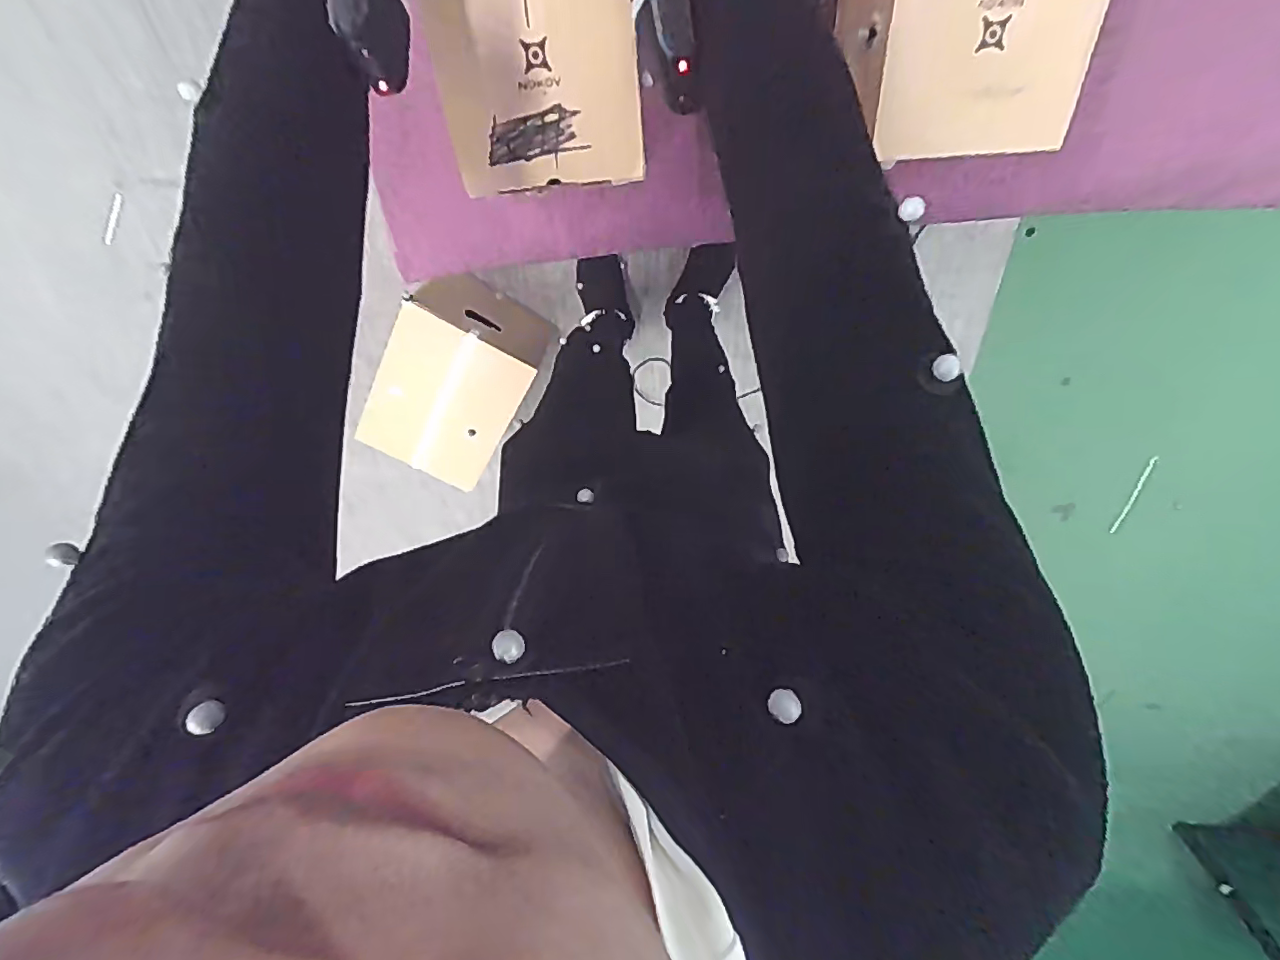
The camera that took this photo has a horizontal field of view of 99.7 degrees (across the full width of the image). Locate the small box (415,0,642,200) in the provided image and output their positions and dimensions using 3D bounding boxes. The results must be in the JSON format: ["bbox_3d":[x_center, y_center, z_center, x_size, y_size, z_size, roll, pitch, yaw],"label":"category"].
[{"bbox_3d":[-0.085,-0.372,0.501,0.168,0.176,0.179,-4,123,3],"label":"small box"}]

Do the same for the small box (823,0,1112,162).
[{"bbox_3d":[0.276,-0.393,0.485,0.168,0.176,0.179,-1,124,2],"label":"small box"}]
